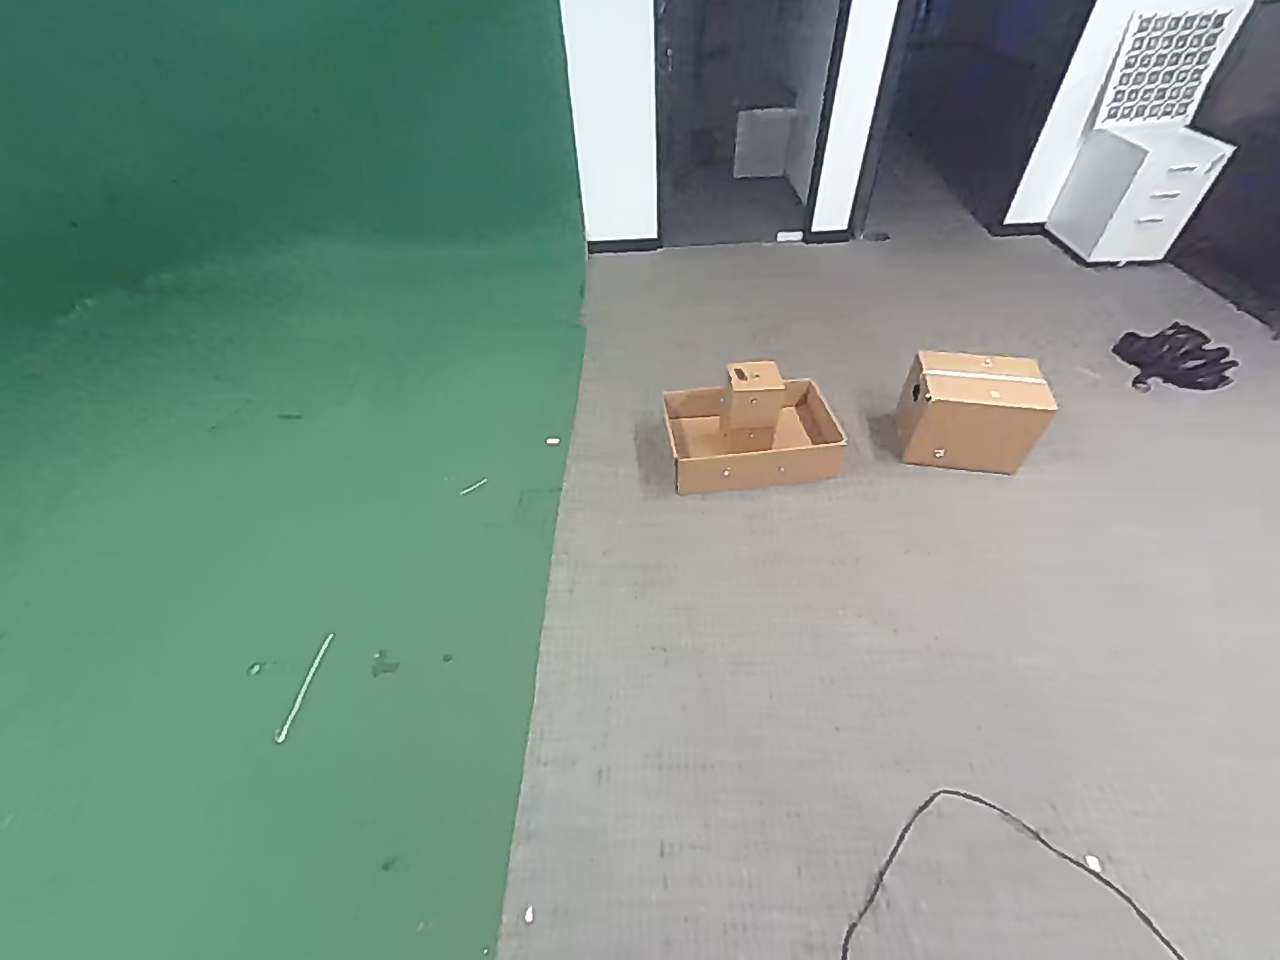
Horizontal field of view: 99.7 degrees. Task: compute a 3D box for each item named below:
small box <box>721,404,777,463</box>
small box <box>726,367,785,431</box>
[{"bbox_3d":[0.408,-0.180,2.059,0.179,0.176,0.168,-4,46,-3],"label":"small box"},{"bbox_3d":[0.404,-0.287,1.933,0.179,0.176,0.168,-2,46,-1],"label":"small box"}]
